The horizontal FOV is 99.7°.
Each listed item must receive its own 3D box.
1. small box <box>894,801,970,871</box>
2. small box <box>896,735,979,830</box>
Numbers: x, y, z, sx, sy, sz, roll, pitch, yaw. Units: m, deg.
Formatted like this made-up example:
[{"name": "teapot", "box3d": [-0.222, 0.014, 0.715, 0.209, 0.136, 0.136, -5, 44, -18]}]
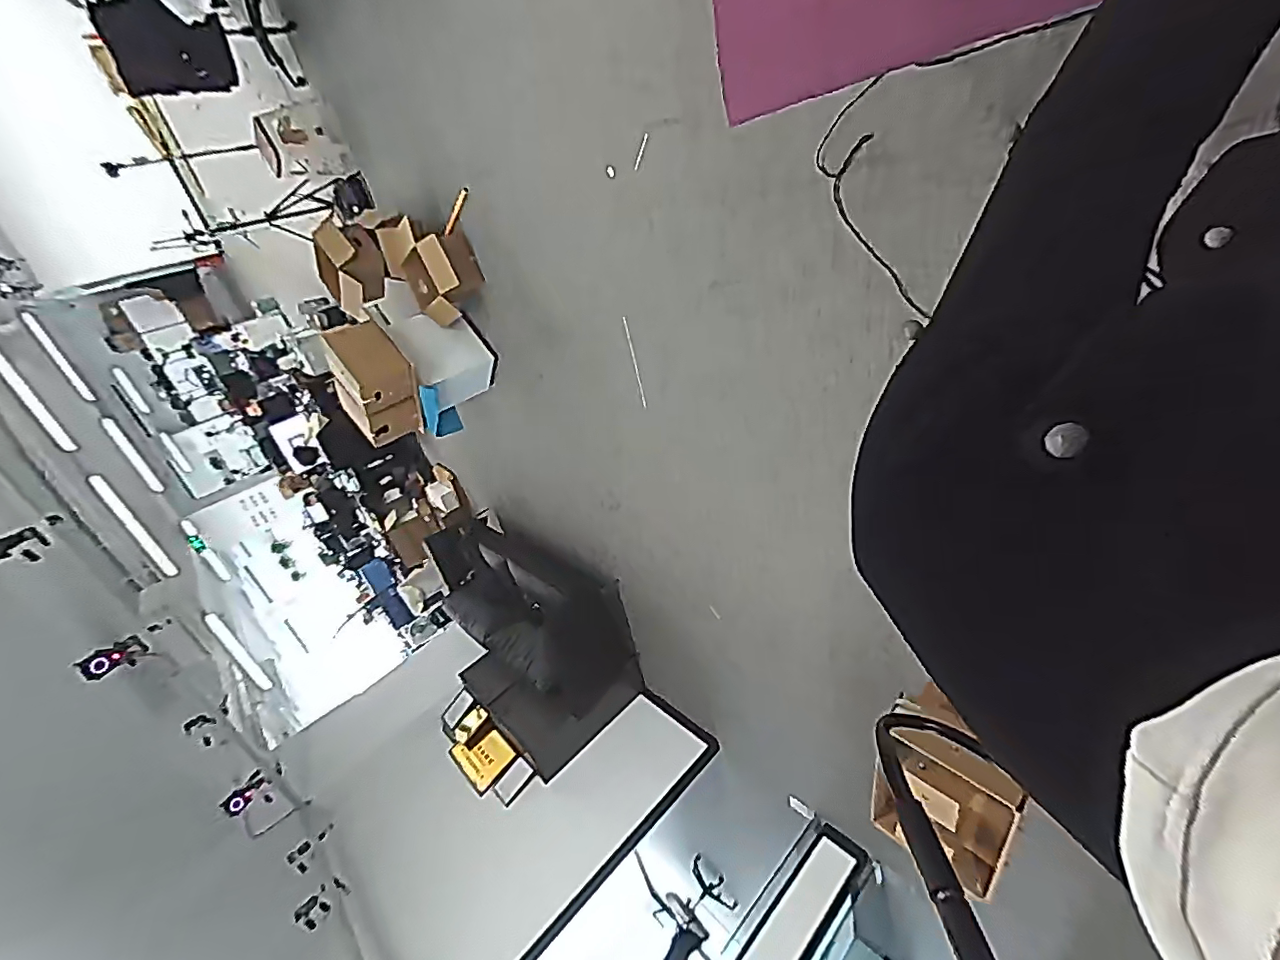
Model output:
[{"name": "small box", "box3d": [1.003, 1.176, 1.857, 0.179, 0.176, 0.168, 24, 136, 41]}, {"name": "small box", "box3d": [0.946, 0.951, 1.723, 0.179, 0.176, 0.168, 20, 134, 43]}]
